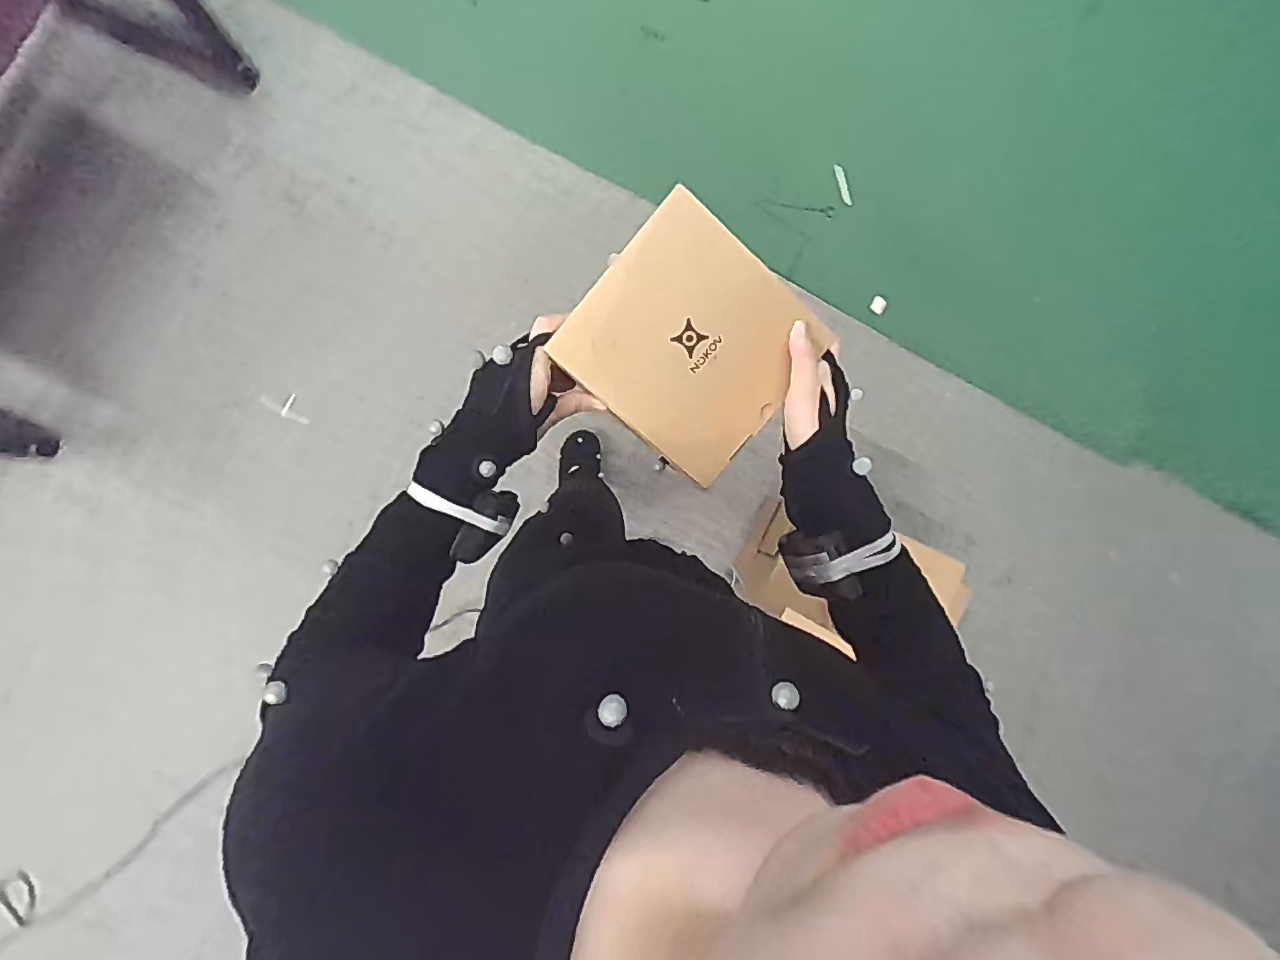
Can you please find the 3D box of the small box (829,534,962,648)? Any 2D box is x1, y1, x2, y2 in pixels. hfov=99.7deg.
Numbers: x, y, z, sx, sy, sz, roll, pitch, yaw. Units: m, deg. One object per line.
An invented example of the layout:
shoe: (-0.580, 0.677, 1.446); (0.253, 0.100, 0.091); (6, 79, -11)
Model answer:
small box: (0.534, 0.228, 1.156); (0.168, 0.176, 0.179); (26, 84, -6)

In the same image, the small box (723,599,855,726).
small box: (0.300, 0.366, 1.123); (0.179, 0.176, 0.168); (32, 85, -4)
